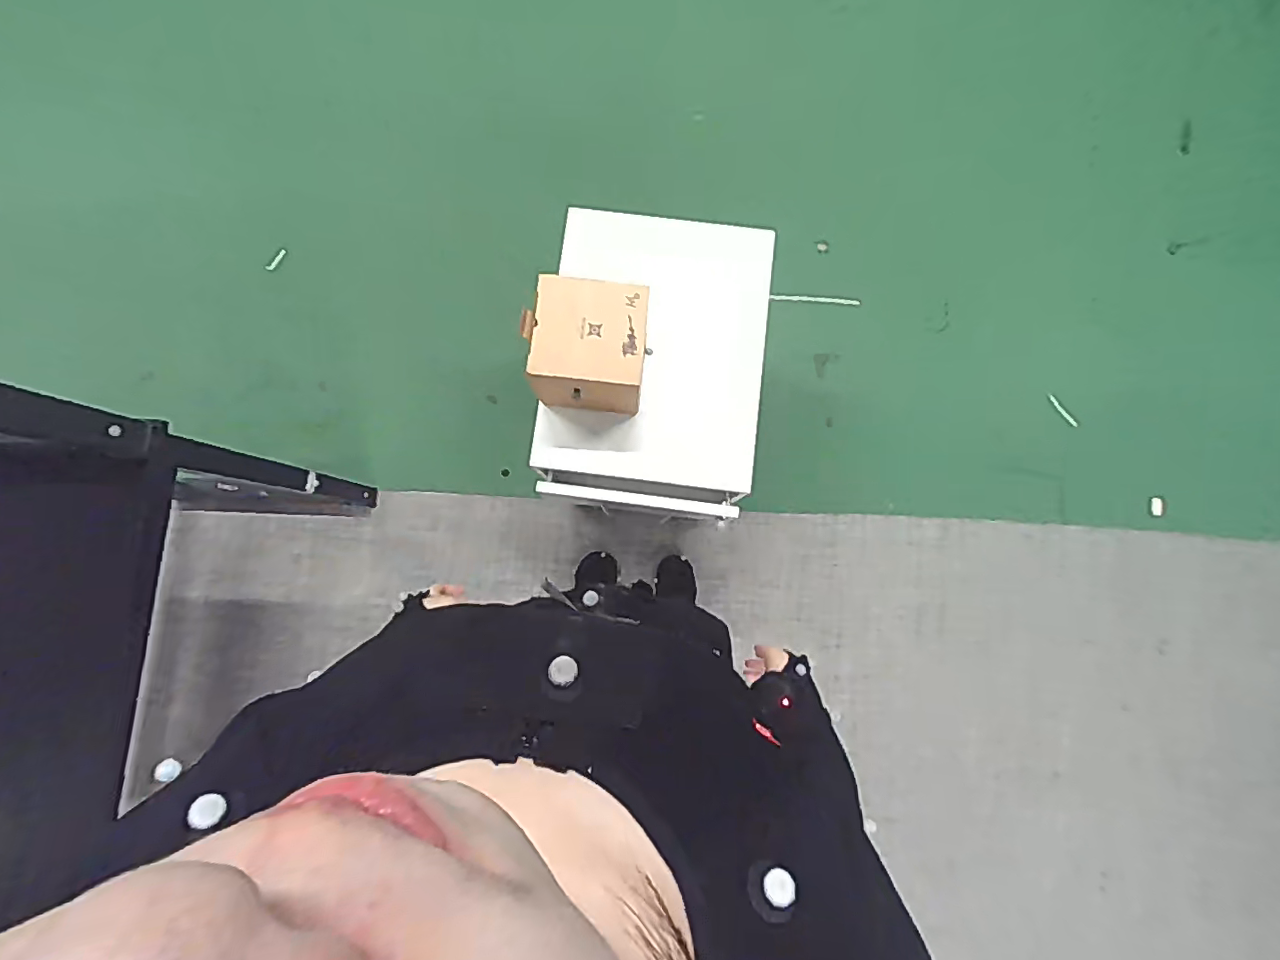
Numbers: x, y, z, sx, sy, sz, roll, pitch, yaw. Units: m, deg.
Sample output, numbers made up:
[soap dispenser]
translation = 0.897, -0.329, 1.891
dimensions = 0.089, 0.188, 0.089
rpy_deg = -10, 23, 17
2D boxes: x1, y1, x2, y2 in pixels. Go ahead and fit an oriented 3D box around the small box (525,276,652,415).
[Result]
[small box]
translation = -0.077, -0.212, 0.892
dimensions = 0.179, 0.176, 0.168
rpy_deg = 6, 82, 0
